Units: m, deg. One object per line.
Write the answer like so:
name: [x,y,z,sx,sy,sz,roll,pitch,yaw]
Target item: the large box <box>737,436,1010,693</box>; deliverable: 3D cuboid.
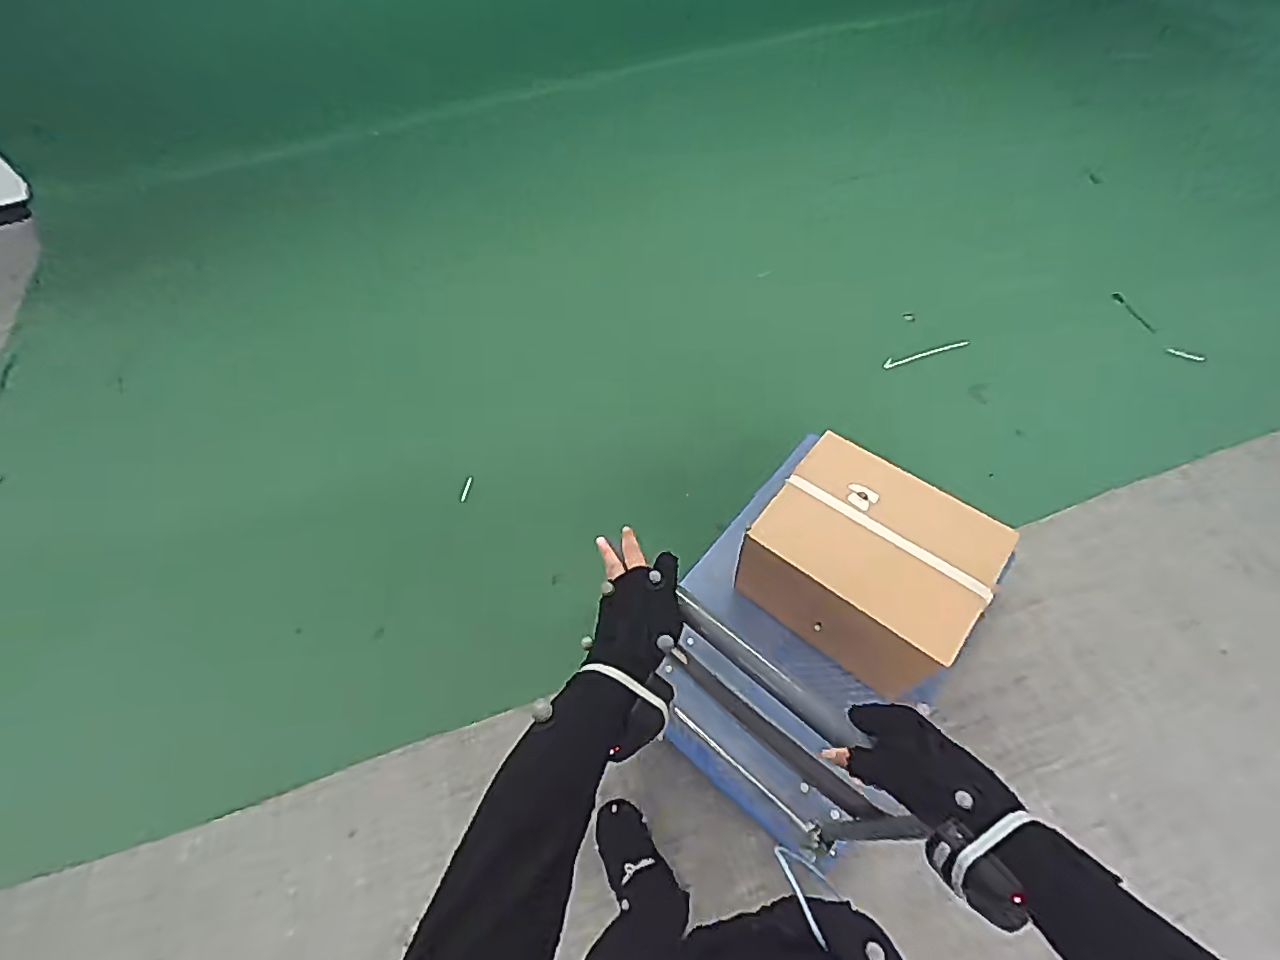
large box: [0.465,0.184,1.161,0.408,0.320,0.320,34,66,23]
